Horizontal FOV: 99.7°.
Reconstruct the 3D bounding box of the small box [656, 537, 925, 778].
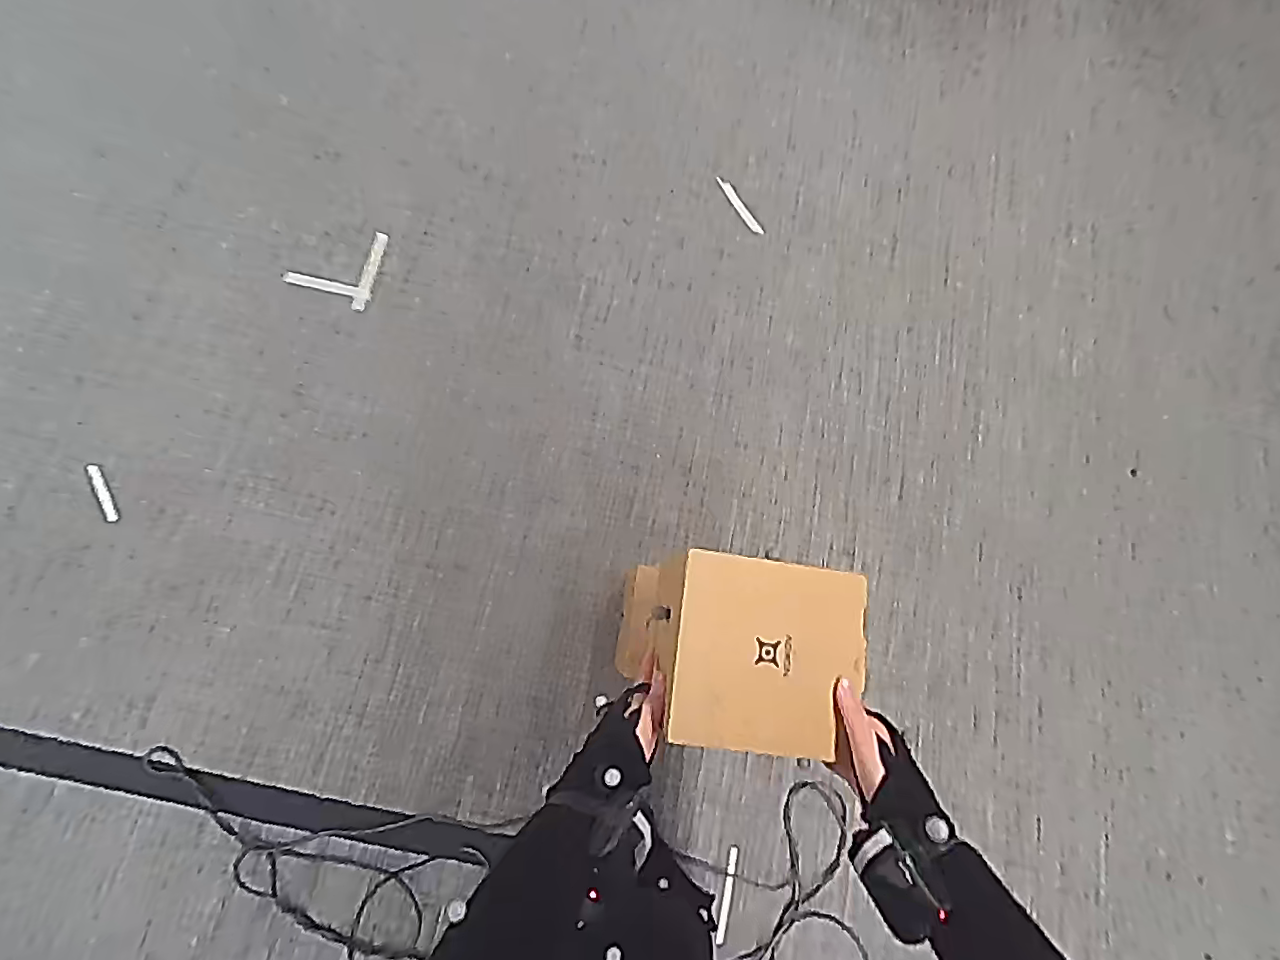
[{"bbox_3d":[0.128,0.174,0.505,0.168,0.176,0.179,14,57,-24],"label":"small box"}]
